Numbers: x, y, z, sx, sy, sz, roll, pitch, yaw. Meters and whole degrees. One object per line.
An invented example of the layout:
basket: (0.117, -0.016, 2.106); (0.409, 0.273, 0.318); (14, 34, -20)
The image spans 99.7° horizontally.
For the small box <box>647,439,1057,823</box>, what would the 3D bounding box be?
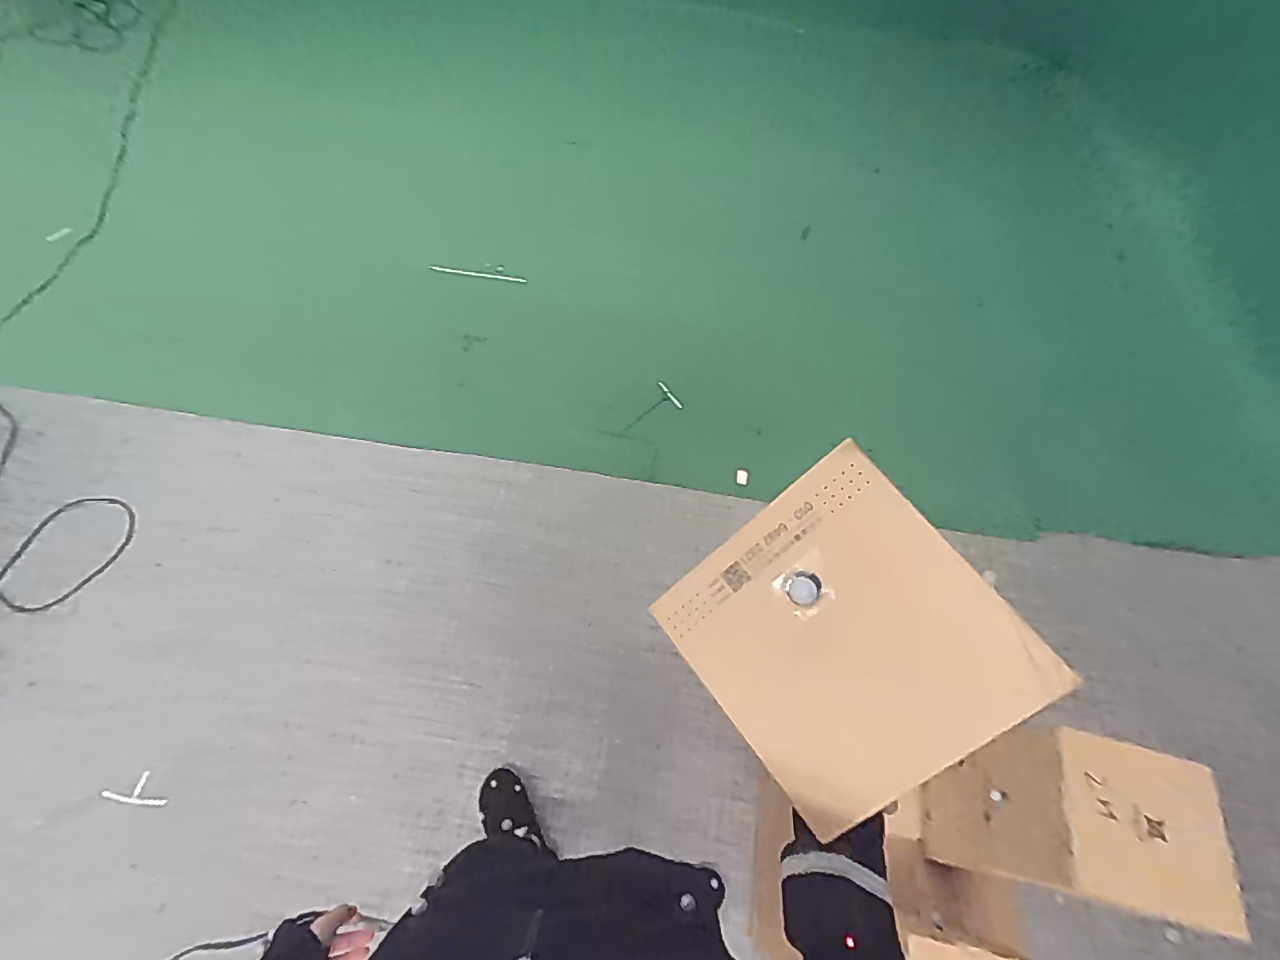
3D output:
small box: (0.136, 0.088, 0.392); (0.168, 0.179, 0.176); (-44, 72, 15)

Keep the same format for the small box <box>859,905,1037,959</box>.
small box: (0.391, 0.684, 0.697); (0.168, 0.176, 0.179); (11, 61, 6)

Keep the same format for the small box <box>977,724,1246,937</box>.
small box: (0.553, 0.416, 0.666); (0.179, 0.176, 0.168); (14, 61, 6)
